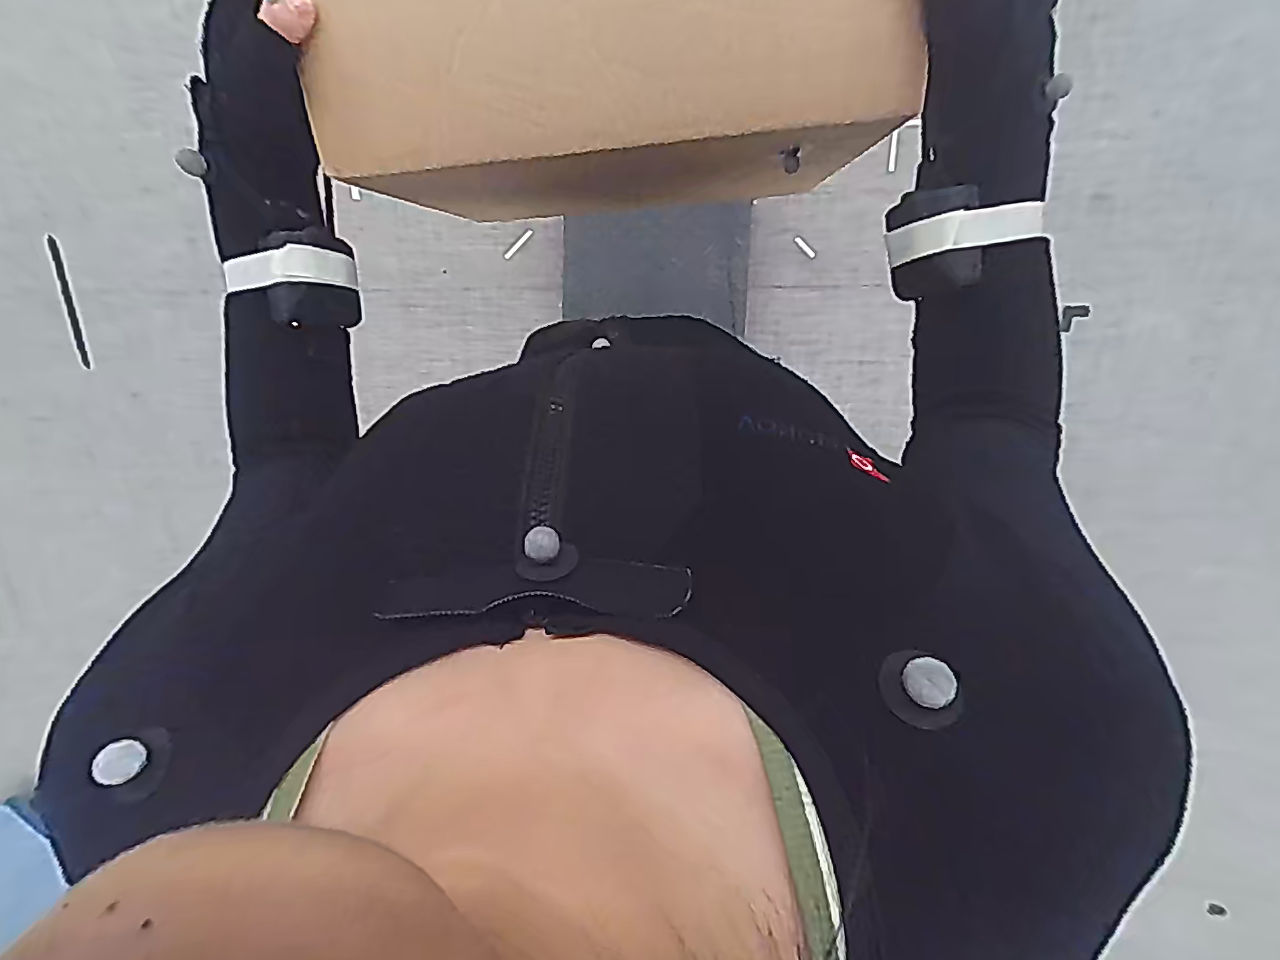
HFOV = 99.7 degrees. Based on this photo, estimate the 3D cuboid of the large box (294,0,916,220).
[{"bbox_3d":[-0.023,-0.422,0.462,0.408,0.320,0.320,-4,109,4],"label":"large box"}]
